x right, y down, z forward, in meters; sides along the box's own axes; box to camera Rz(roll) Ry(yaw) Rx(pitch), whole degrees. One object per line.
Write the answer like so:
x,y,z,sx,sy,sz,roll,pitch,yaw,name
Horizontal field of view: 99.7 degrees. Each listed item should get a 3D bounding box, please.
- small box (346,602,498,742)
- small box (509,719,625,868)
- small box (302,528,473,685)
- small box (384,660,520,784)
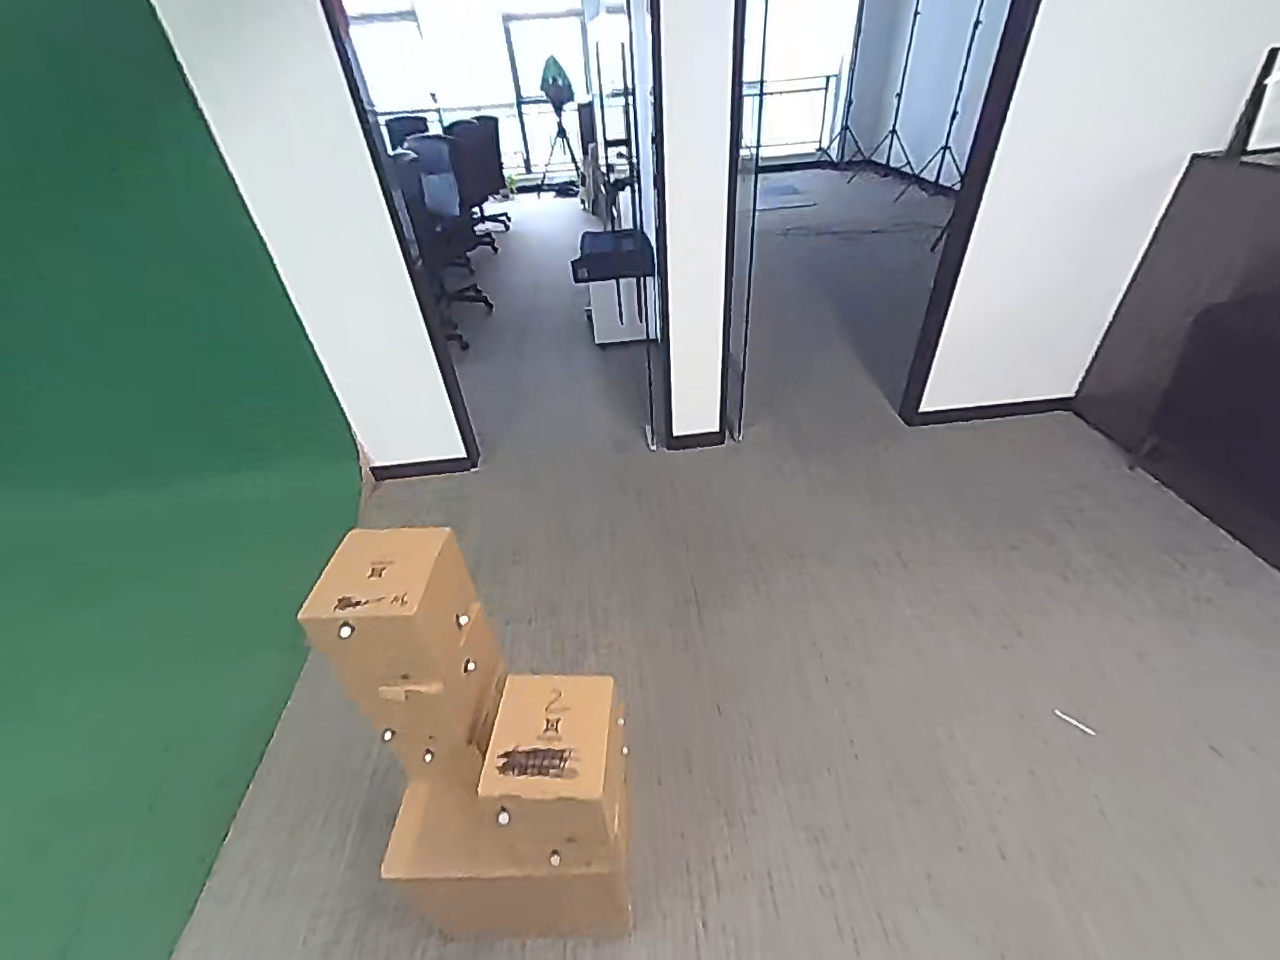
-0.362,0.330,0.941,0.168,0.176,0.179,2,37,8,small box
-0.113,0.537,0.921,0.168,0.176,0.179,-4,38,0,small box
-0.375,0.196,0.846,0.168,0.176,0.179,-3,37,3,small box
-0.349,0.461,1.041,0.179,0.176,0.168,2,39,6,small box
